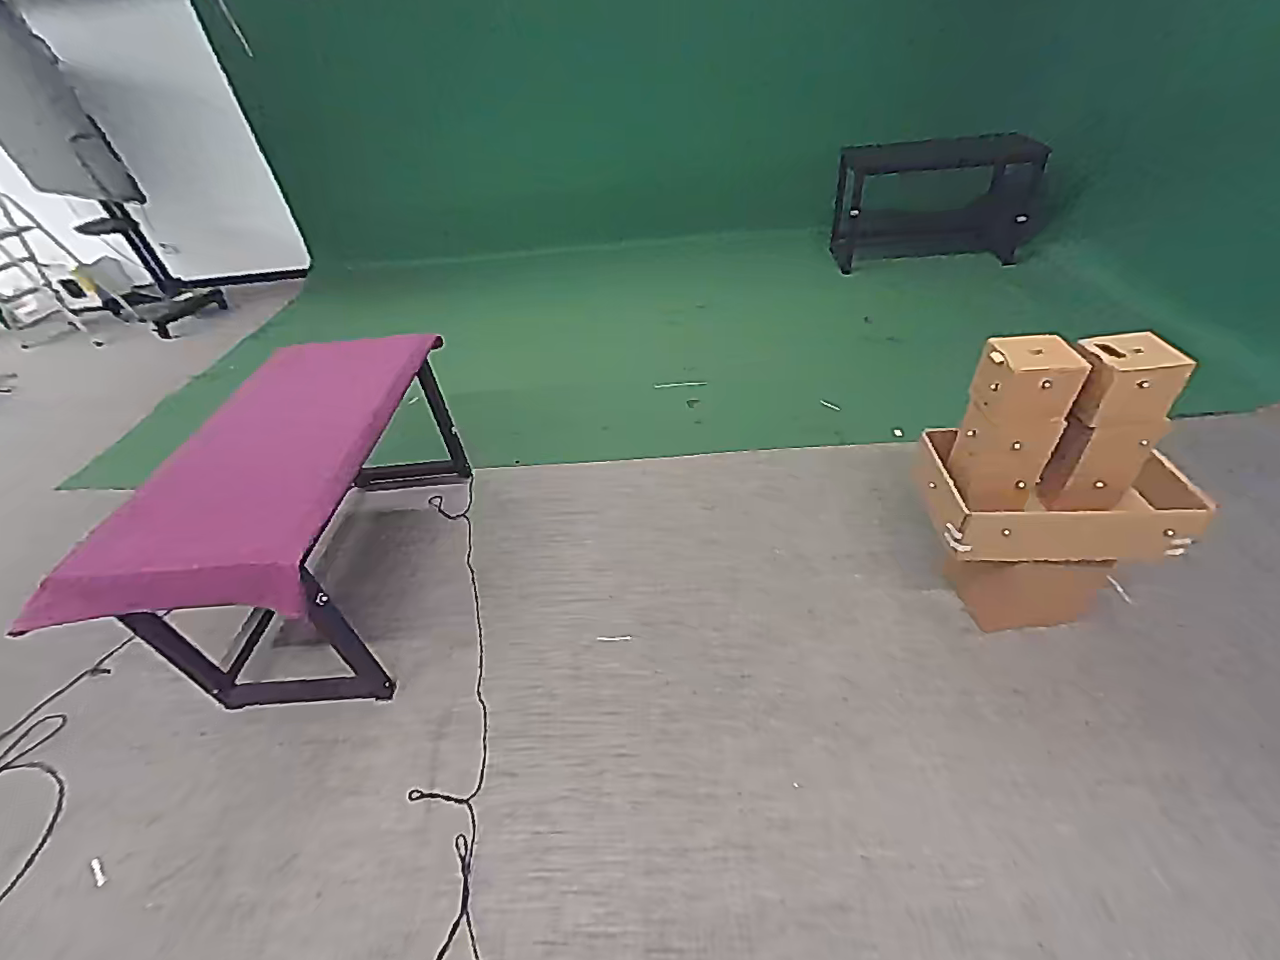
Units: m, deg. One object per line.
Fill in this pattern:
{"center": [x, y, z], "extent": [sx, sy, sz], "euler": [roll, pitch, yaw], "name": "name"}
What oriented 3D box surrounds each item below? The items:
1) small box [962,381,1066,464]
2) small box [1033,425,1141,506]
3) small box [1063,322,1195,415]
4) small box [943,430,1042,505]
{"center": [1.031, -0.158, 1.514], "extent": [0.179, 0.176, 0.168], "euler": [-2, 42, 7], "name": "small box"}
{"center": [1.299, -0.040, 1.594], "extent": [0.179, 0.176, 0.168], "euler": [-5, 42, 8], "name": "small box"}
{"center": [1.226, -0.280, 1.380], "extent": [0.179, 0.176, 0.168], "euler": [-6, 41, 6], "name": "small box"}
{"center": [1.047, -0.036, 1.621], "extent": [0.179, 0.176, 0.168], "euler": [-1, 41, 7], "name": "small box"}
